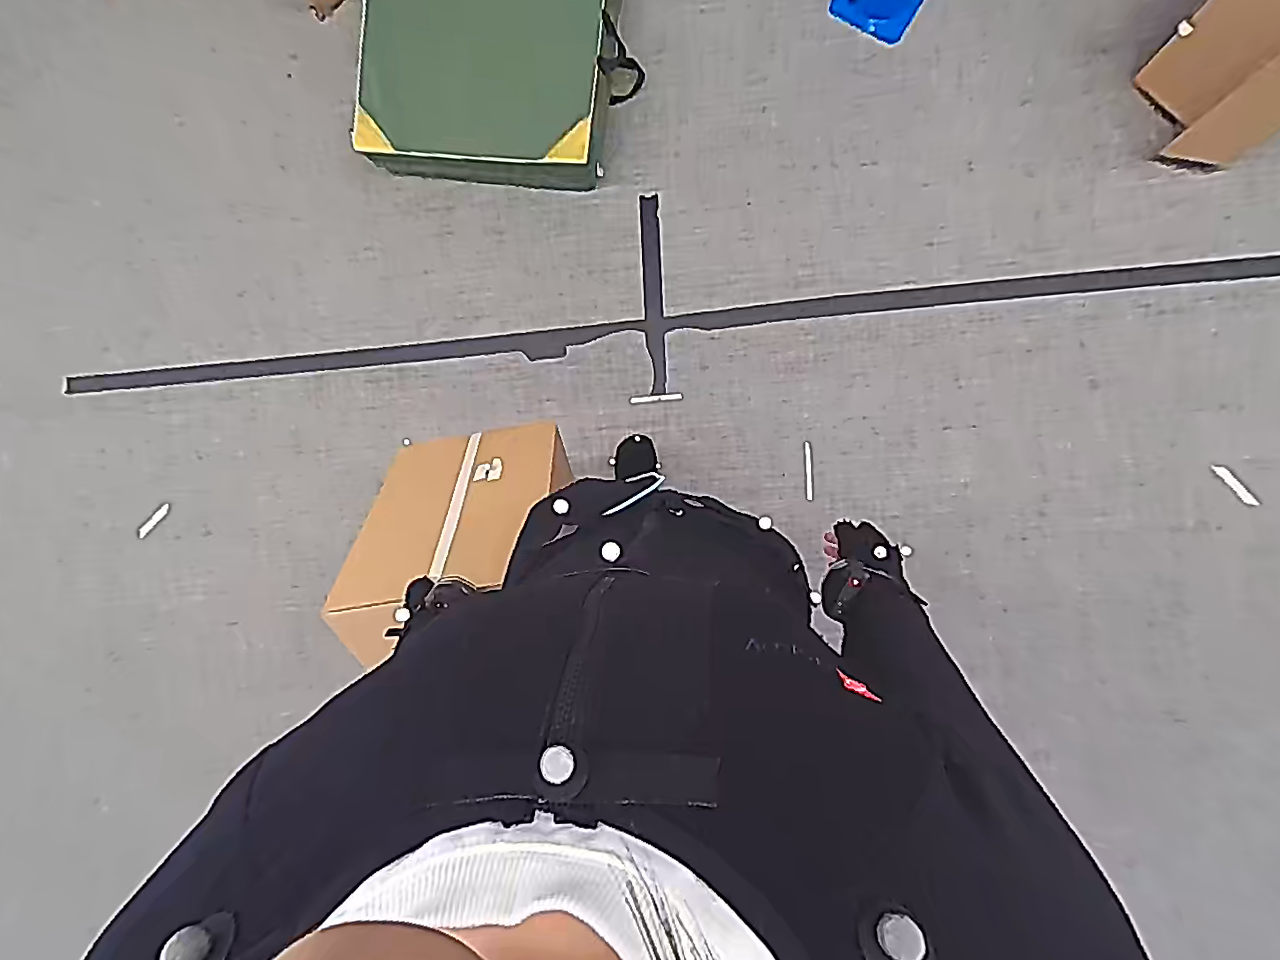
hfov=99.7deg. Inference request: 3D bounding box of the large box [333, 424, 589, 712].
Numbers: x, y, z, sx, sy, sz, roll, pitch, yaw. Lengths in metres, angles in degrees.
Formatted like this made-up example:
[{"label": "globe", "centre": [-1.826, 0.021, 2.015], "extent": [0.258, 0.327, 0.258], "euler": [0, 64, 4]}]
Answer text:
[{"label": "large box", "centre": [-0.277, 0.151, 1.003], "extent": [0.320, 0.408, 0.320], "euler": [-9, 128, 3]}]
